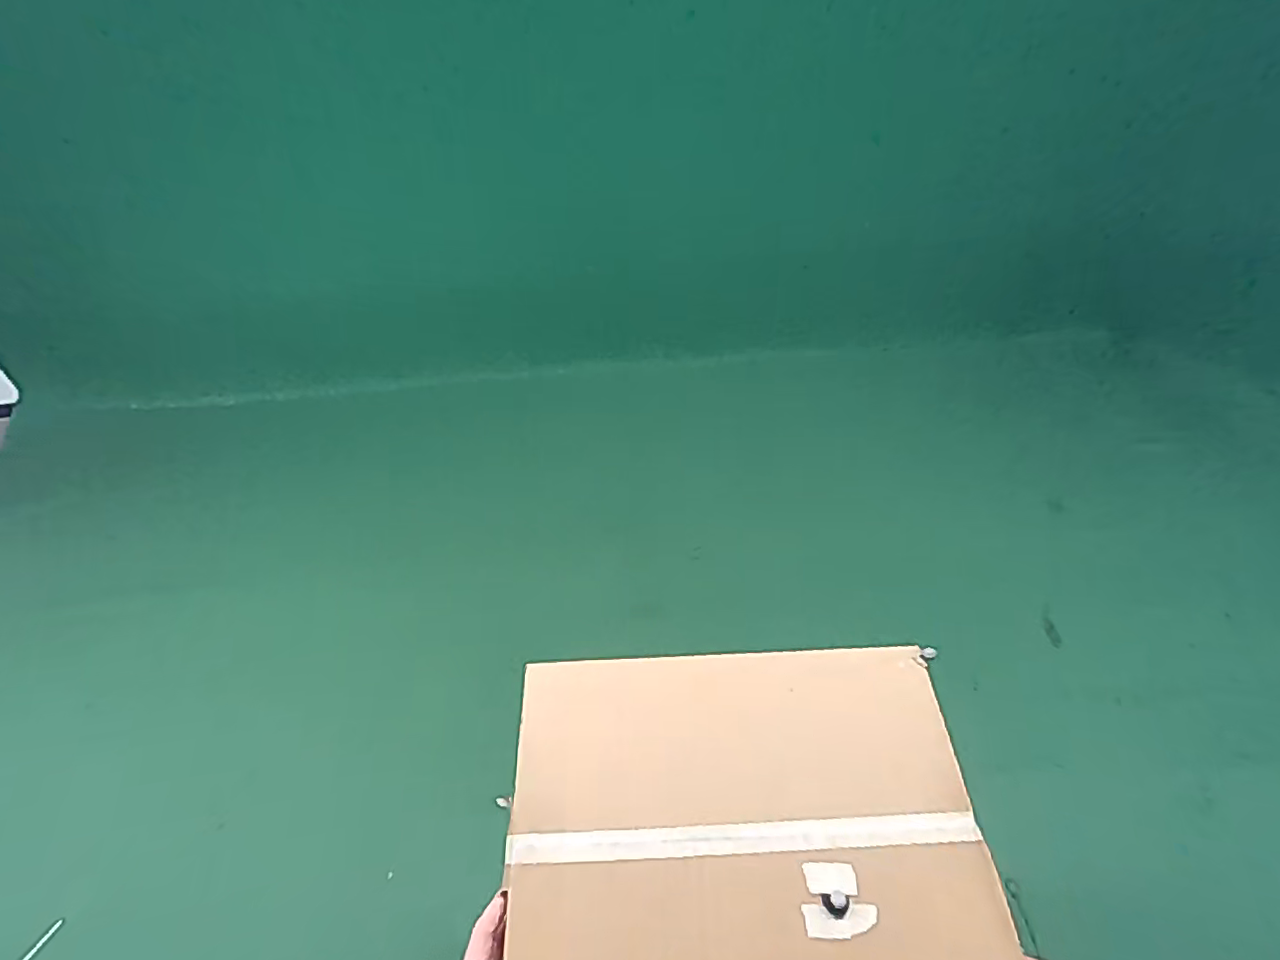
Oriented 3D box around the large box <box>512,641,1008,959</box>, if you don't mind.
[{"bbox_3d":[0.091,0.391,0.604,0.408,0.320,0.320,-3,57,0],"label":"large box"}]
